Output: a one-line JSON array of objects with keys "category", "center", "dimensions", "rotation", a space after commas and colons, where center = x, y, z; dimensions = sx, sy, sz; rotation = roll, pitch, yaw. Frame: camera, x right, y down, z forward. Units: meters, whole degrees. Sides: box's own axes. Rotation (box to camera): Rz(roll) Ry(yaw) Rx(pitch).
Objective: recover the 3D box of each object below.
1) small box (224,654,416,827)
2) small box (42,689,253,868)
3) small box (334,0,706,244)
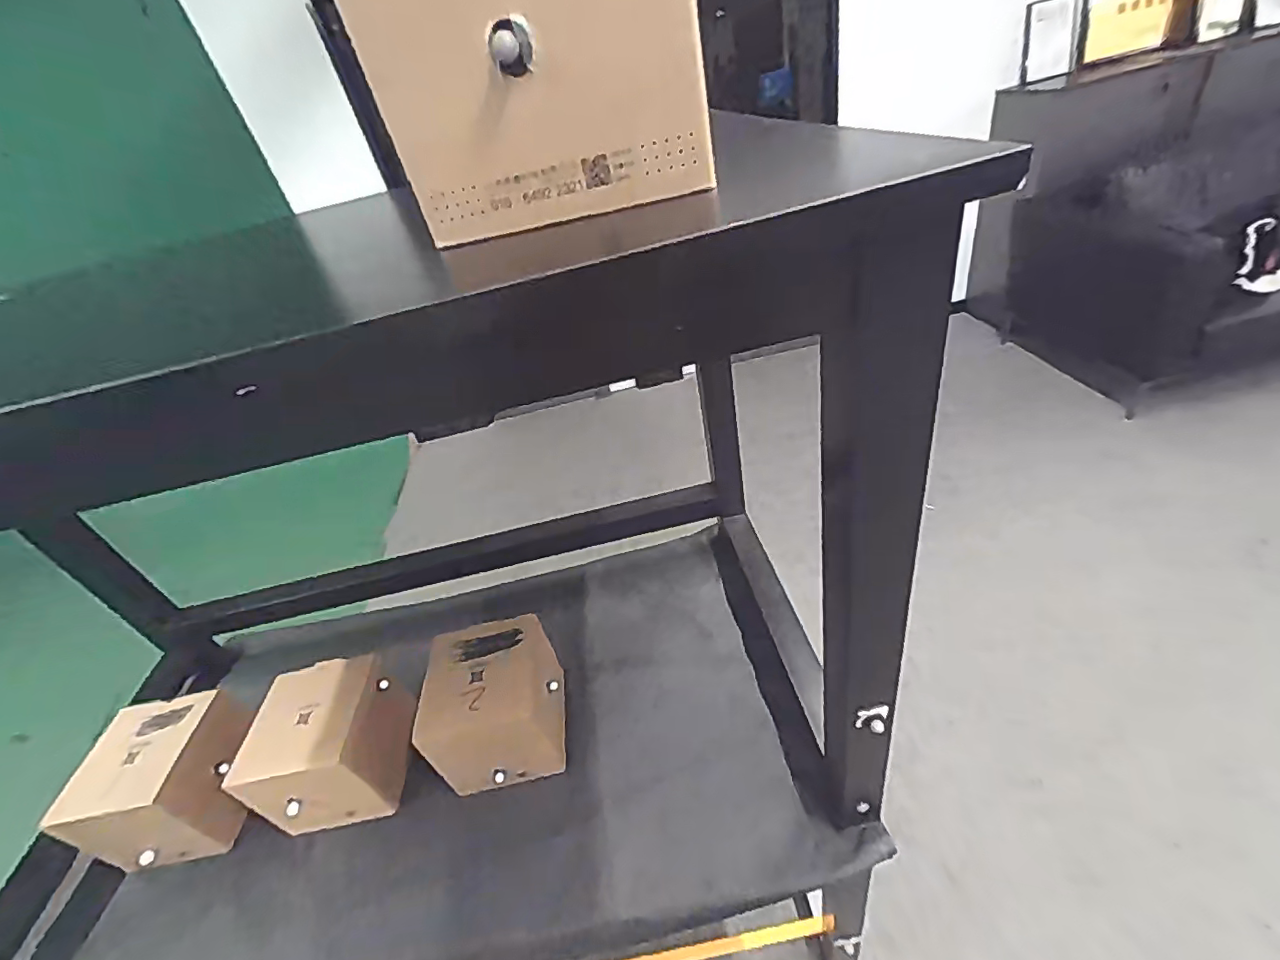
[{"category": "small box", "center": [-0.469, 0.404, 0.831], "dimensions": [0.168, 0.176, 0.179], "rotation": [-13, 36, 2]}, {"category": "small box", "center": [-0.716, 0.458, 0.835], "dimensions": [0.168, 0.176, 0.179], "rotation": [-13, 37, 2]}, {"category": "small box", "center": [-0.052, -0.255, 0.326], "dimensions": [0.168, 0.176, 0.179], "rotation": [-6, 37, 10]}]
